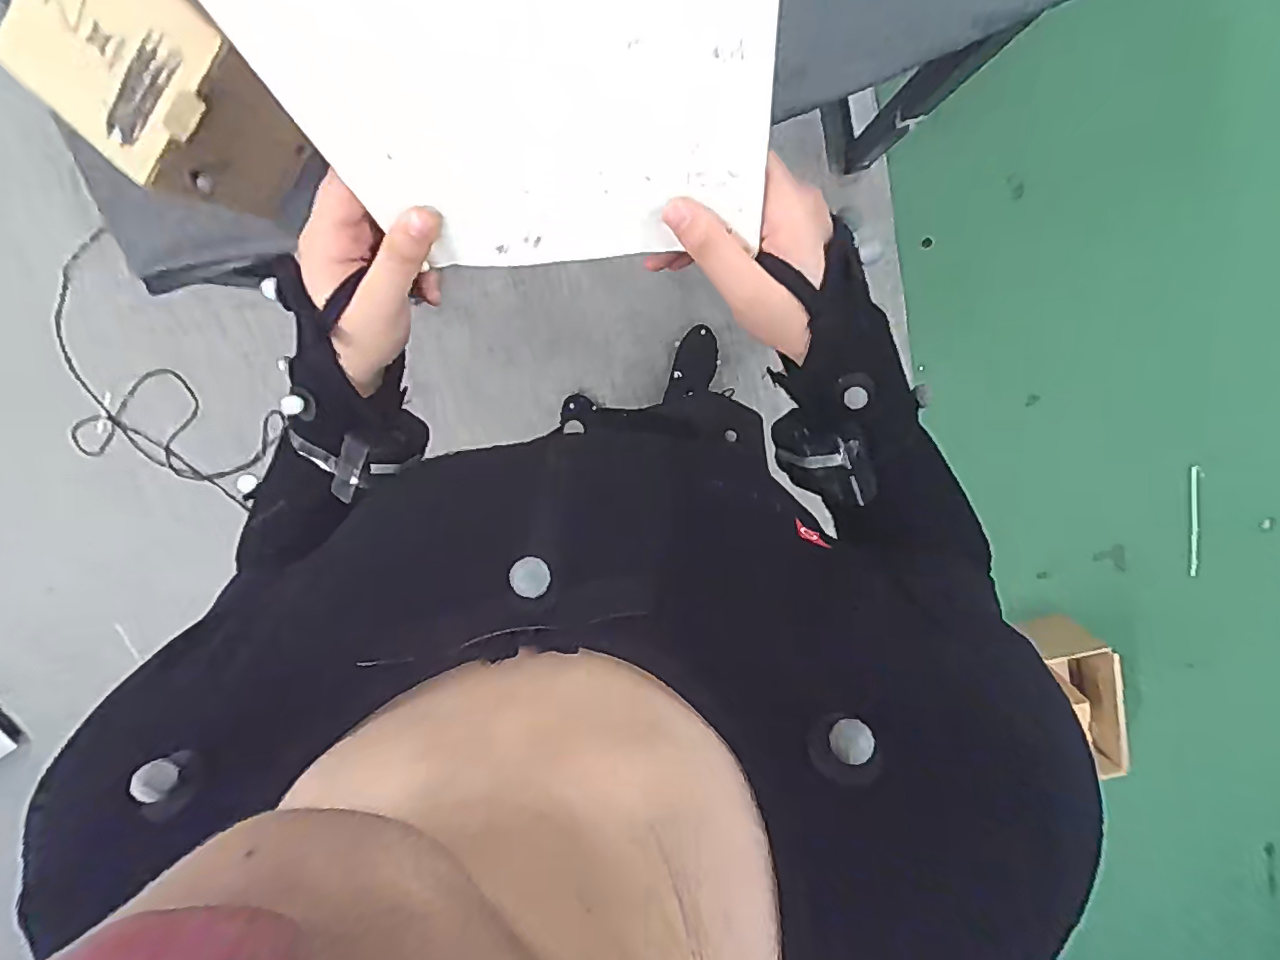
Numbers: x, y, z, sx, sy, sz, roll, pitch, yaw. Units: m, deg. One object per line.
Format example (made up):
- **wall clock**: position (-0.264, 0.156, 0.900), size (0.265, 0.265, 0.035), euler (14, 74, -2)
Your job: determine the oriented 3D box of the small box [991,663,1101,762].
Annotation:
- **small box**: position (1.083, 0.617, 1.451), size (0.179, 0.176, 0.168), euler (-14, 105, 9)
